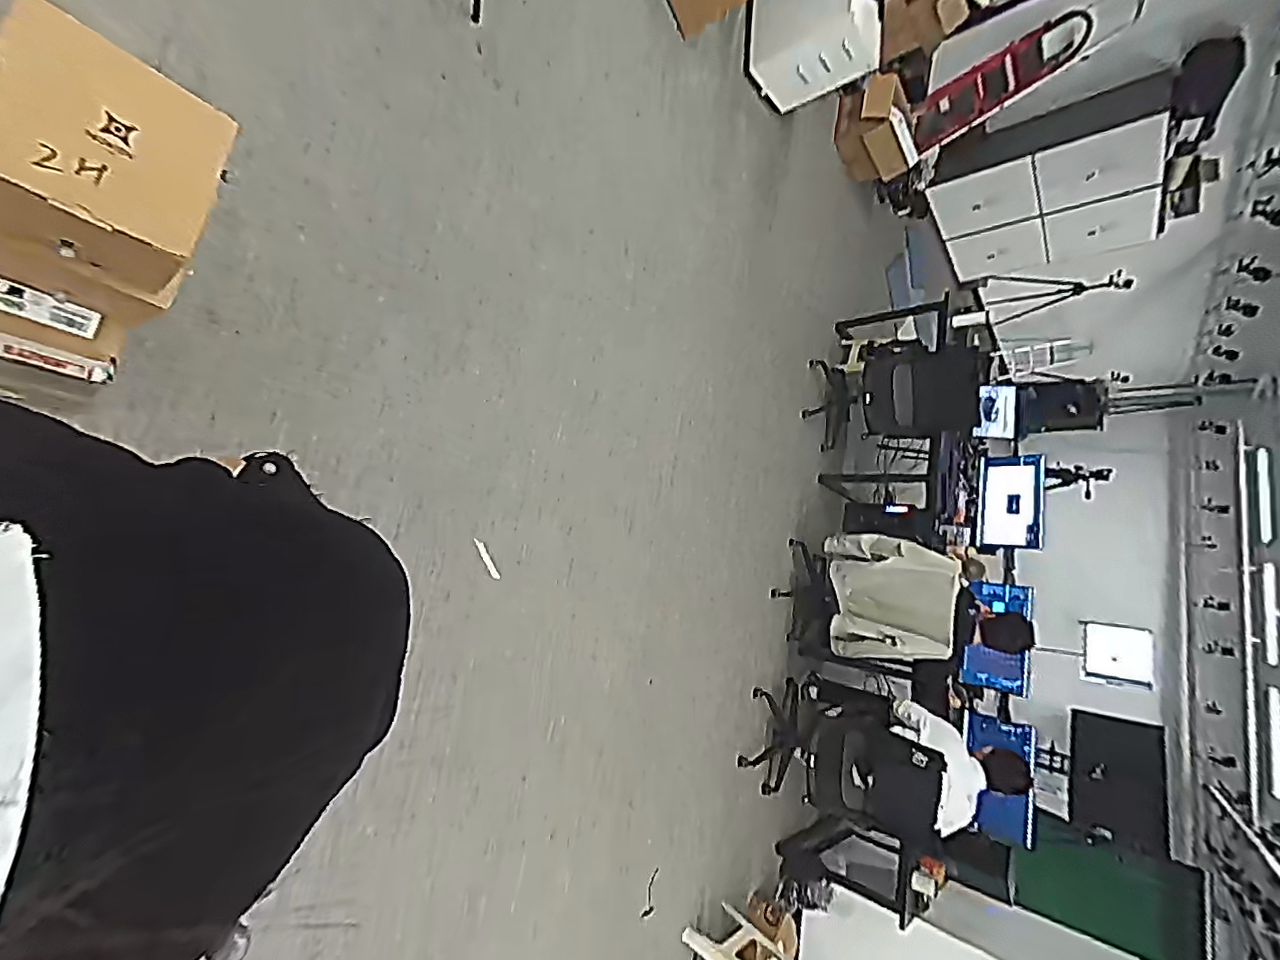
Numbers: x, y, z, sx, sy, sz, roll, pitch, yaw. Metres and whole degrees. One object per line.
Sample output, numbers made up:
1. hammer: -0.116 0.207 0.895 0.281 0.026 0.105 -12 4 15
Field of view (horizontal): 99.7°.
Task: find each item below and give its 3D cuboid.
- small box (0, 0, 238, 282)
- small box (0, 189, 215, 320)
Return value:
1. small box: -0.568 -0.339 0.570 0.168 0.176 0.179 23 75 -48
2. small box: -0.686 -0.328 0.685 0.168 0.176 0.179 26 73 -47
